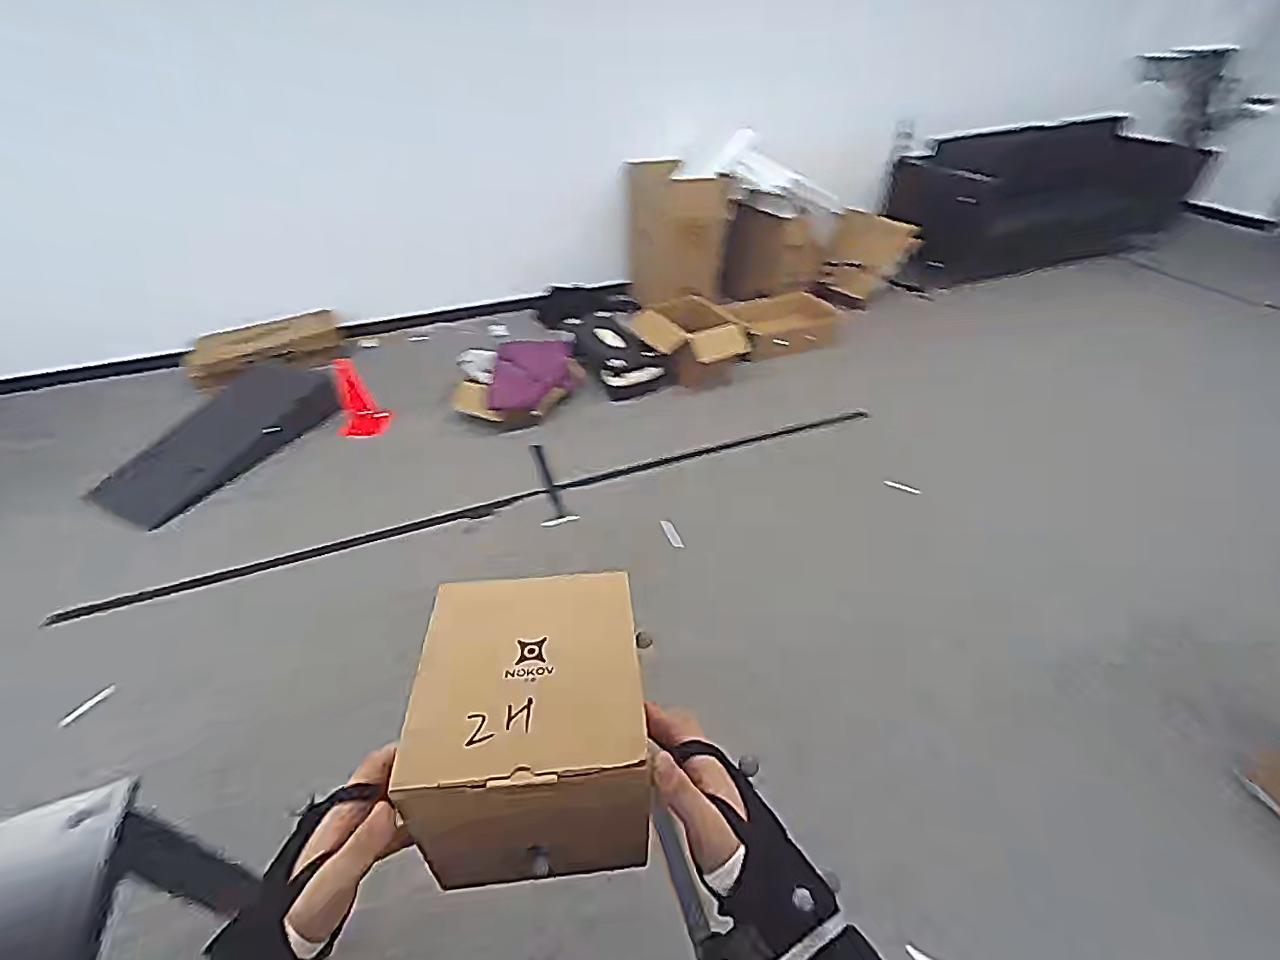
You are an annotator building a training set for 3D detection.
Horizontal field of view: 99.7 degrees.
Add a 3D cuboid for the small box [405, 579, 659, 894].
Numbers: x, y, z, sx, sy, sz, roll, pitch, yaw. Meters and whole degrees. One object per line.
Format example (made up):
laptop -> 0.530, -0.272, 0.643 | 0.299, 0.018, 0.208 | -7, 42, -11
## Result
small box -> -0.075, 0.209, 0.460 | 0.168, 0.176, 0.179 | -4, 33, -3
